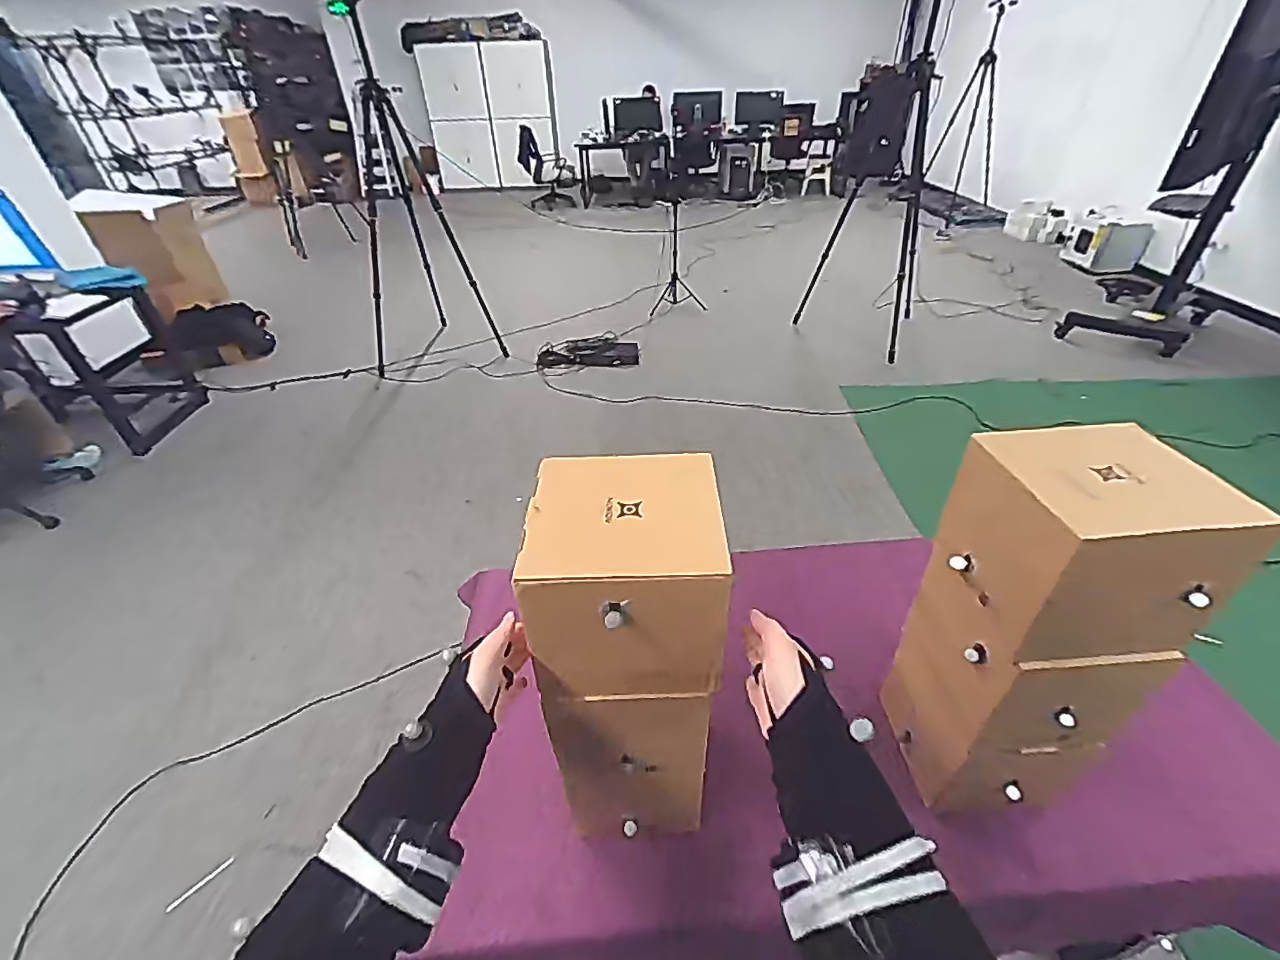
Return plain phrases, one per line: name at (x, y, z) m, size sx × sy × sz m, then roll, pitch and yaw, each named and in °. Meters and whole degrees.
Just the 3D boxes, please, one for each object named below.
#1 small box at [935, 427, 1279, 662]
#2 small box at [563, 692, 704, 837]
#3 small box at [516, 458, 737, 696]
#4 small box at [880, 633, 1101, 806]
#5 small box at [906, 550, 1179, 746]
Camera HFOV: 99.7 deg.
small box at (0.439, 0.064, 0.548) m, size 0.179 × 0.176 × 0.168 m, roll -4°, pitch 36°, yaw -1°
small box at (-0.008, 0.354, 0.733) m, size 0.168 × 0.176 × 0.179 m, roll -2°, pitch 38°, yaw 0°
small box at (-0.008, 0.095, 0.533) m, size 0.179 × 0.176 × 0.168 m, roll -2°, pitch 38°, yaw 1°
small box at (0.458, 0.327, 0.743) m, size 0.168 × 0.176 × 0.179 m, roll -3°, pitch 38°, yaw -1°
small box at (0.449, 0.197, 0.643) m, size 0.168 × 0.176 × 0.179 m, roll -3°, pitch 37°, yaw -1°
